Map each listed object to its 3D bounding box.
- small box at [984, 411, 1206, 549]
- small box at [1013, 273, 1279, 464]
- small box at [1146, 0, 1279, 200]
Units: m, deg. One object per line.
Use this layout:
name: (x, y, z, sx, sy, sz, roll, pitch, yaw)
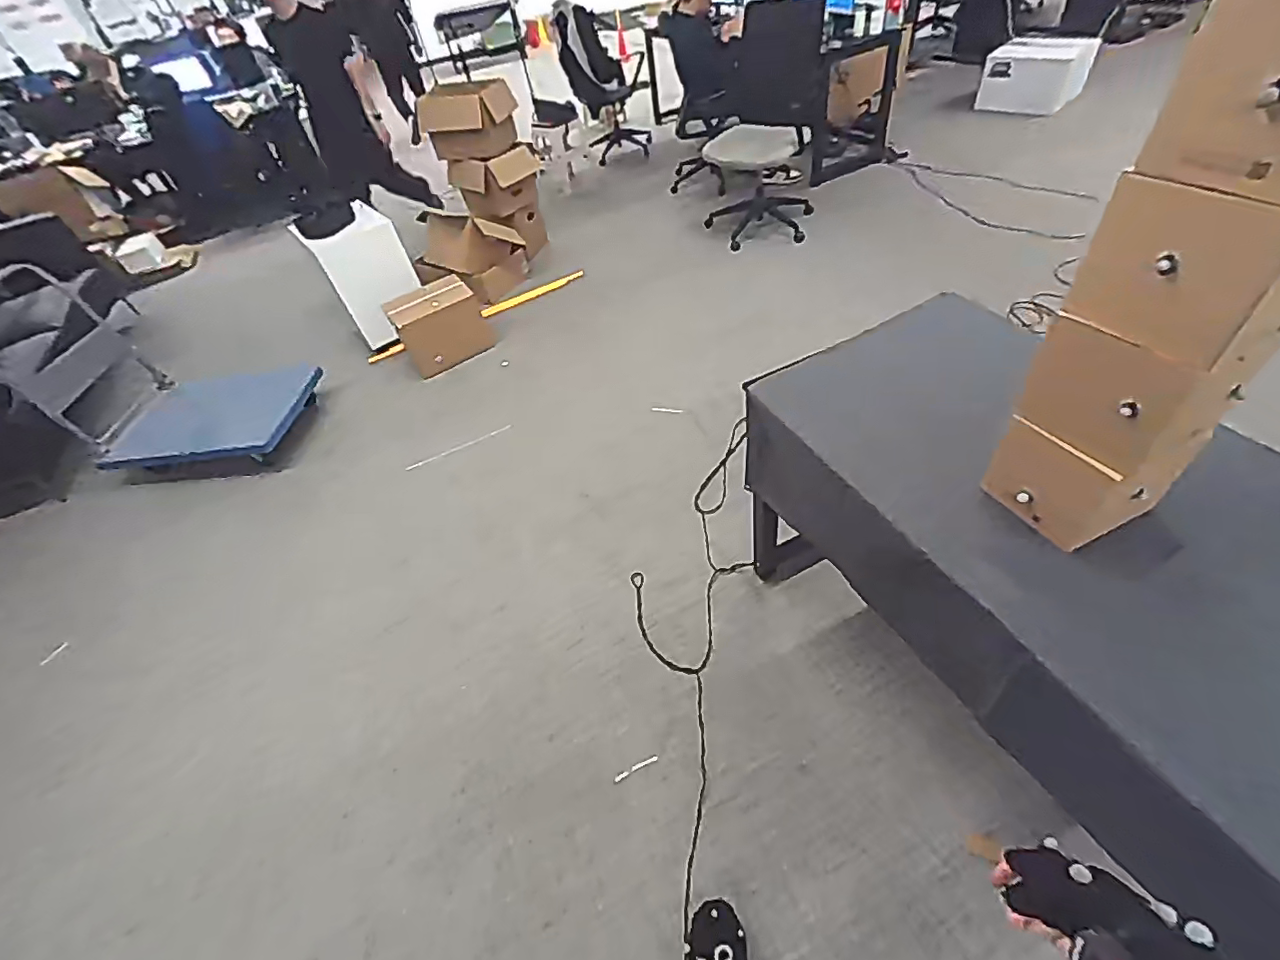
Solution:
small box: (0.676, -0.027, 0.831, 0.179, 0.176, 0.168, -24, 46, -10)
small box: (0.653, -0.142, 0.718, 0.168, 0.176, 0.179, -24, 47, -13)
small box: (0.624, -0.376, 0.491, 0.179, 0.176, 0.168, -24, 47, -12)
